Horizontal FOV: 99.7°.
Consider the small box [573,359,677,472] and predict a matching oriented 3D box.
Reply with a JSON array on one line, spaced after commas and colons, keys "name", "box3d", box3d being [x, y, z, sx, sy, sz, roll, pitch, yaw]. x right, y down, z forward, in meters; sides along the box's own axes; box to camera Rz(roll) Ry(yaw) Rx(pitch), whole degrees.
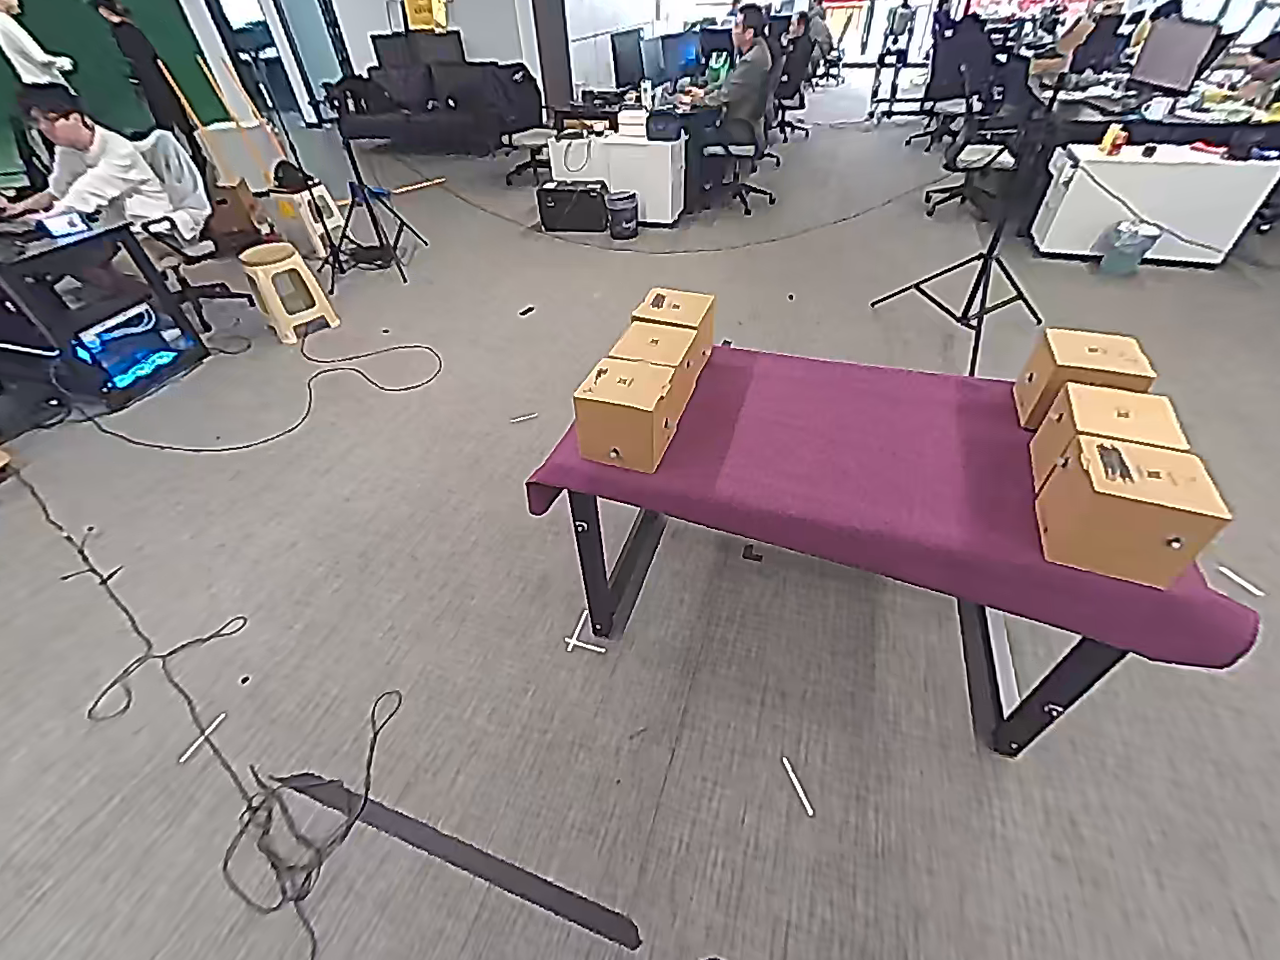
[{"name": "small box", "box3d": [-0.028, -0.140, 1.183, 0.179, 0.176, 0.168, 13, 44, 15]}]

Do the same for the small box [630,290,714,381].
[{"name": "small box", "box3d": [0.086, -0.382, 1.435, 0.179, 0.176, 0.168, 14, 47, 16]}]

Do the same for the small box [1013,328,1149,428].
[{"name": "small box", "box3d": [0.963, -0.215, 1.204, 0.179, 0.176, 0.168, 13, 46, 16]}]

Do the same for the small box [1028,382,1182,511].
[{"name": "small box", "box3d": [0.890, -0.065, 1.056, 0.168, 0.176, 0.179, 15, 45, 19]}]
